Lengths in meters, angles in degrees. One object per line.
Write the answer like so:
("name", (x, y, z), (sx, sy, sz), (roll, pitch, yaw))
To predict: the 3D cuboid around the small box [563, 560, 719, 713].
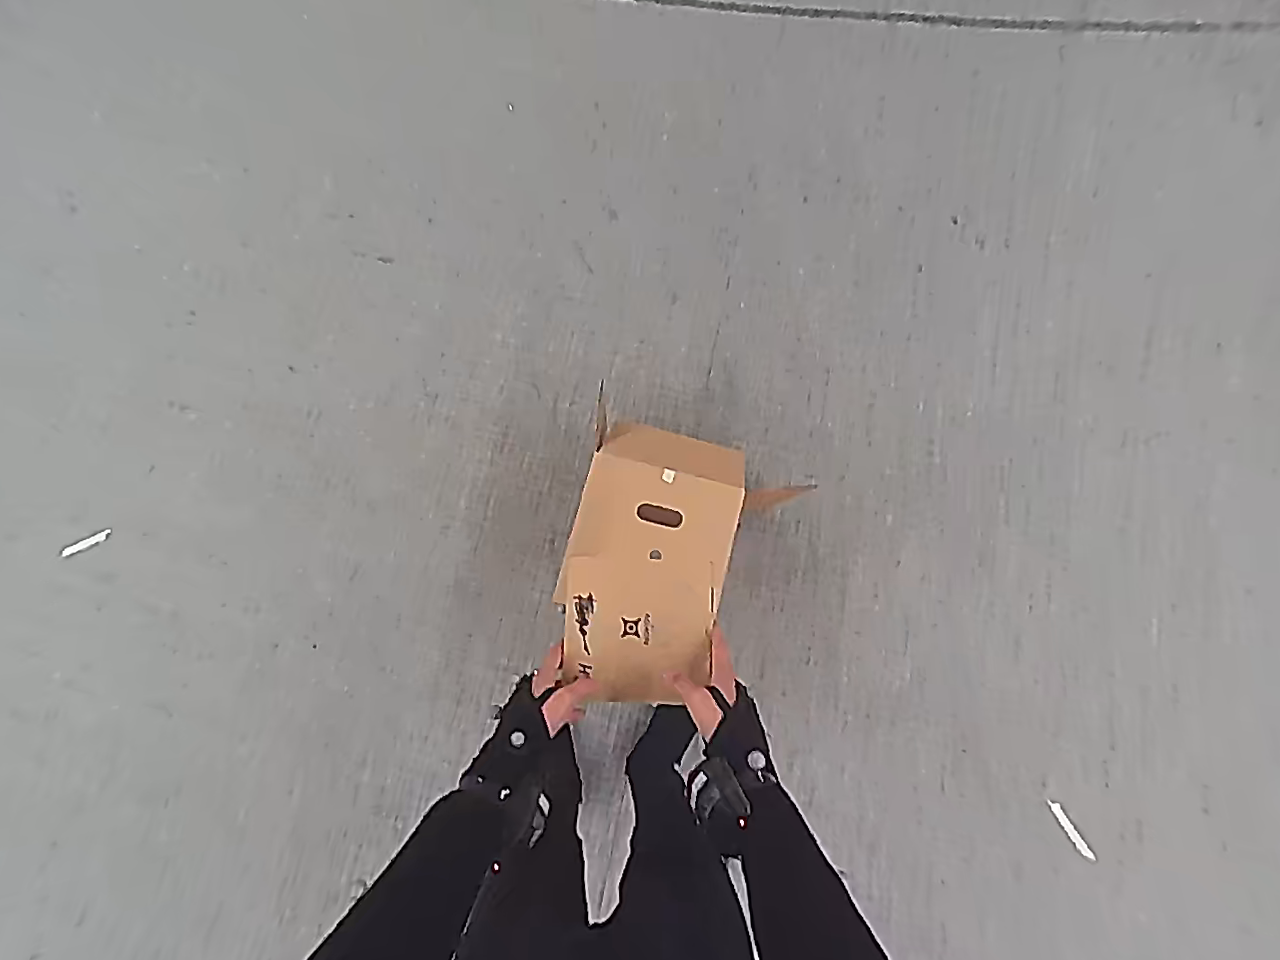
("small box", (0.004, 0.190, 0.702), (0.179, 0.176, 0.168), (2, 81, 2))
